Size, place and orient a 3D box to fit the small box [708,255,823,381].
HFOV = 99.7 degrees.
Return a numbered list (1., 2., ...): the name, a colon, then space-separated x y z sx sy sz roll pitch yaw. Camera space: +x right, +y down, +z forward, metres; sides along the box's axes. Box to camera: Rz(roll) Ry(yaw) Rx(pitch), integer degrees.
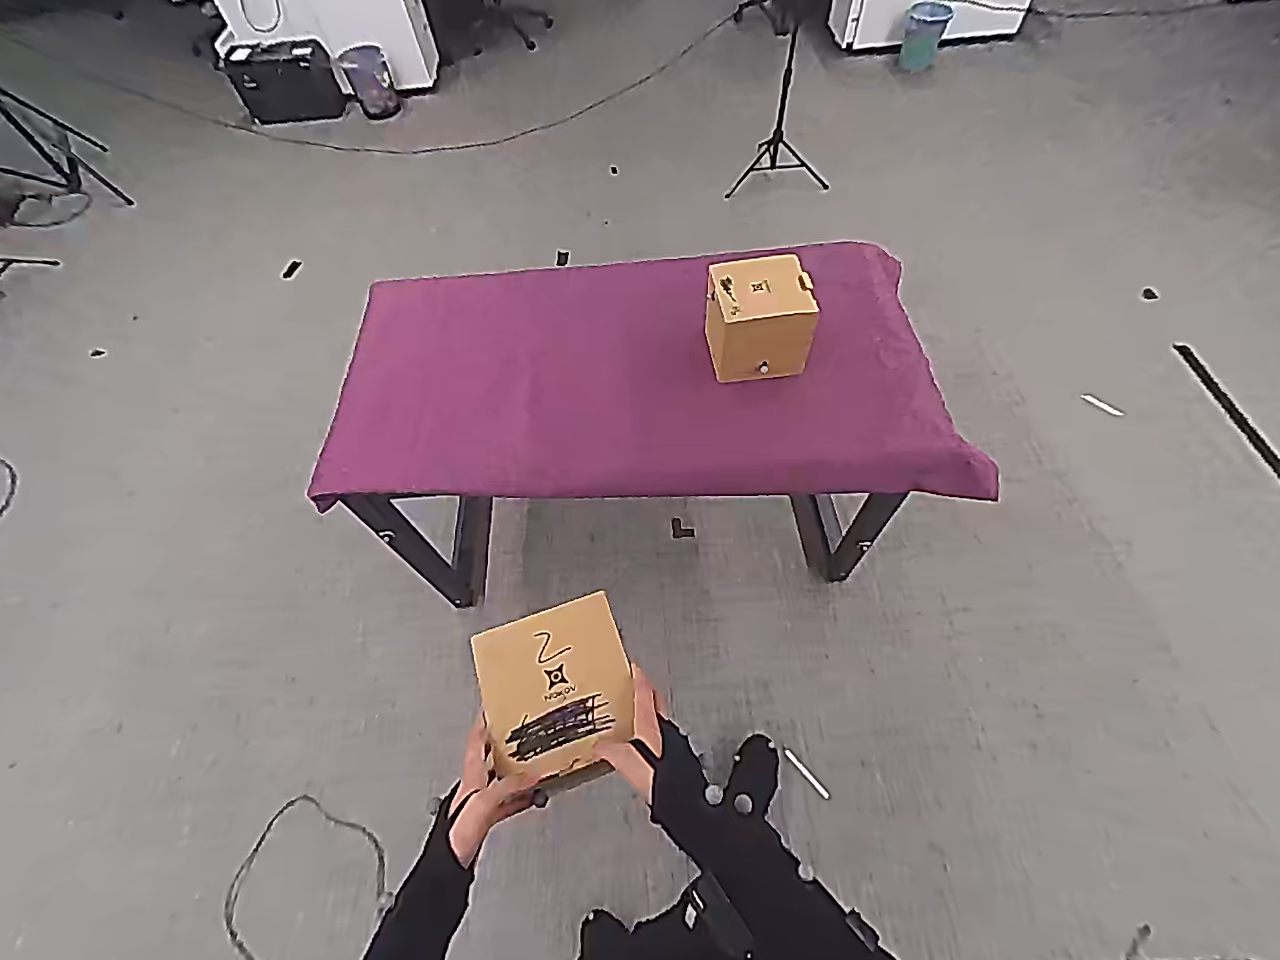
1. small box: 0.237 -0.317 1.073 0.179 0.176 0.168 -7 58 -1
